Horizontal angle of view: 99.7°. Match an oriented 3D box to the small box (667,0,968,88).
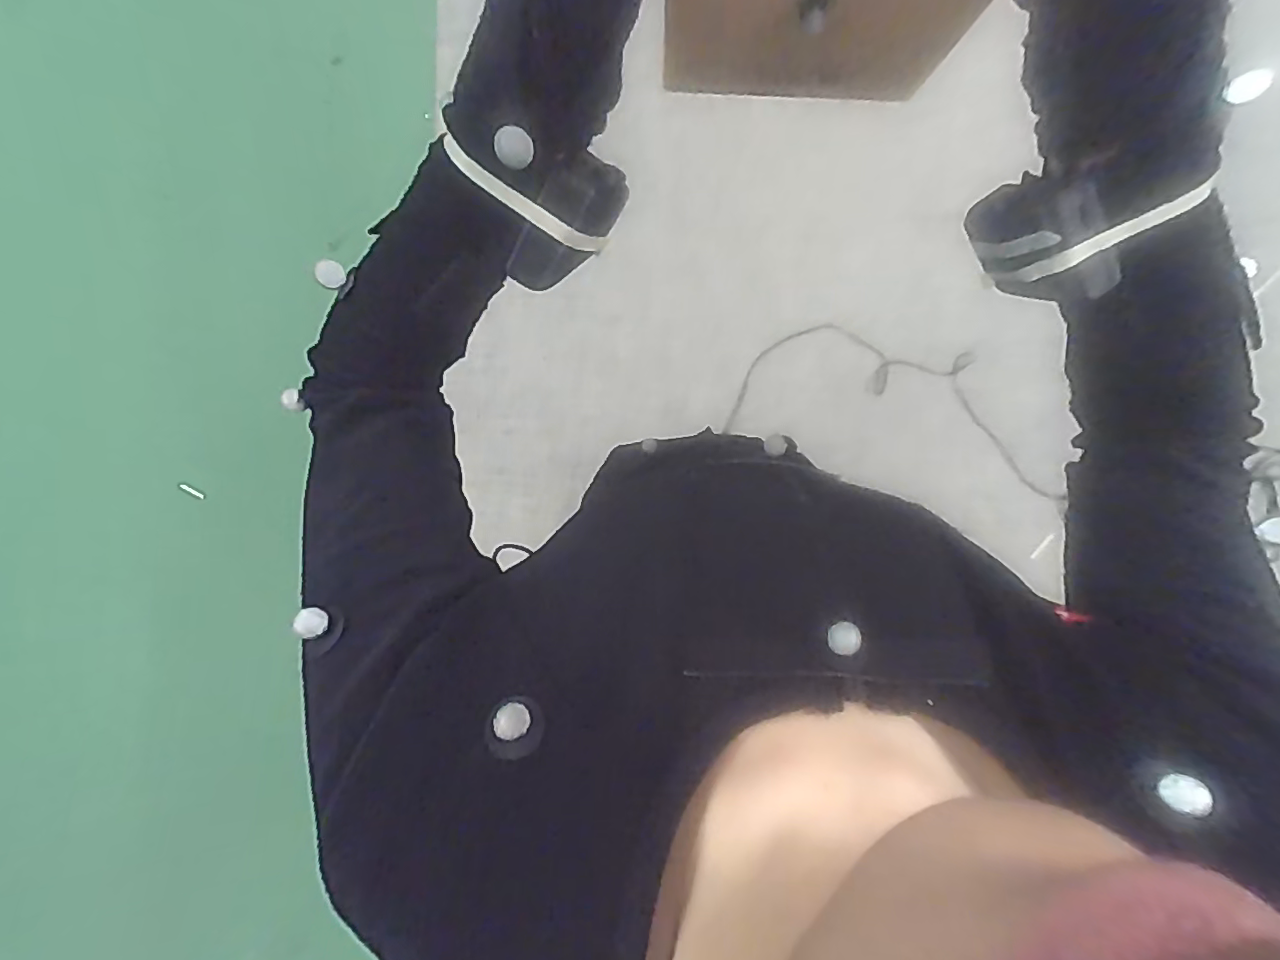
[{"bbox_3d":[0.101,-0.336,0.270,0.168,0.176,0.179,2,95,-1],"label":"small box"}]
